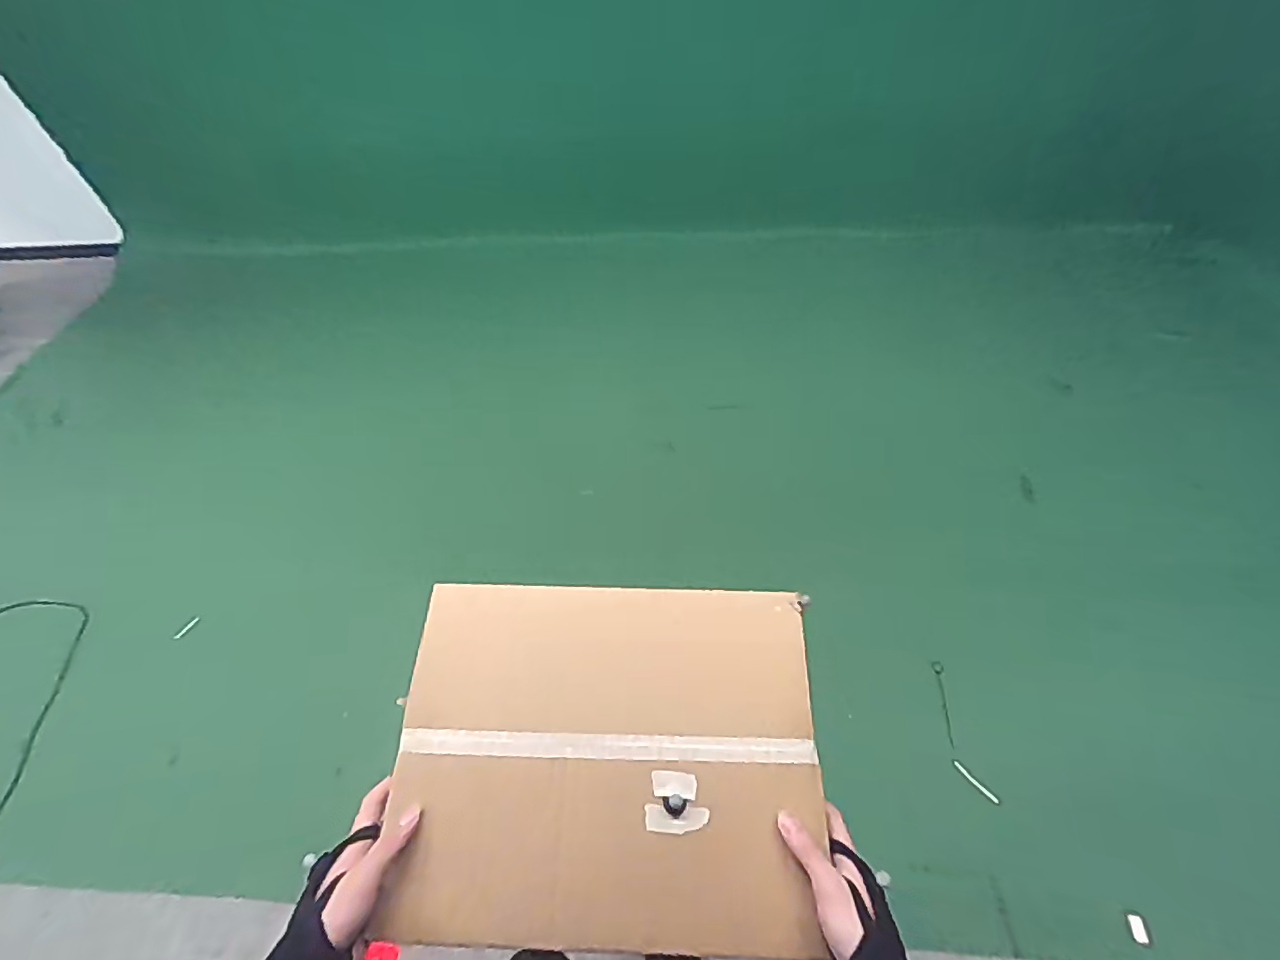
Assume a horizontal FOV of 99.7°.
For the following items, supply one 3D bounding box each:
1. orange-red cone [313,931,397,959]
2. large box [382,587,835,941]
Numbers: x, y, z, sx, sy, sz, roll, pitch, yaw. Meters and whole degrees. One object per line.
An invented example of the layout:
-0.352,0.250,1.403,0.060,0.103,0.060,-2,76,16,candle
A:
-0.677,1.039,1.067,0.199,0.360,0.198,5,52,10,orange-red cone
-0.028,0.328,0.666,0.408,0.320,0.320,1,63,1,large box
